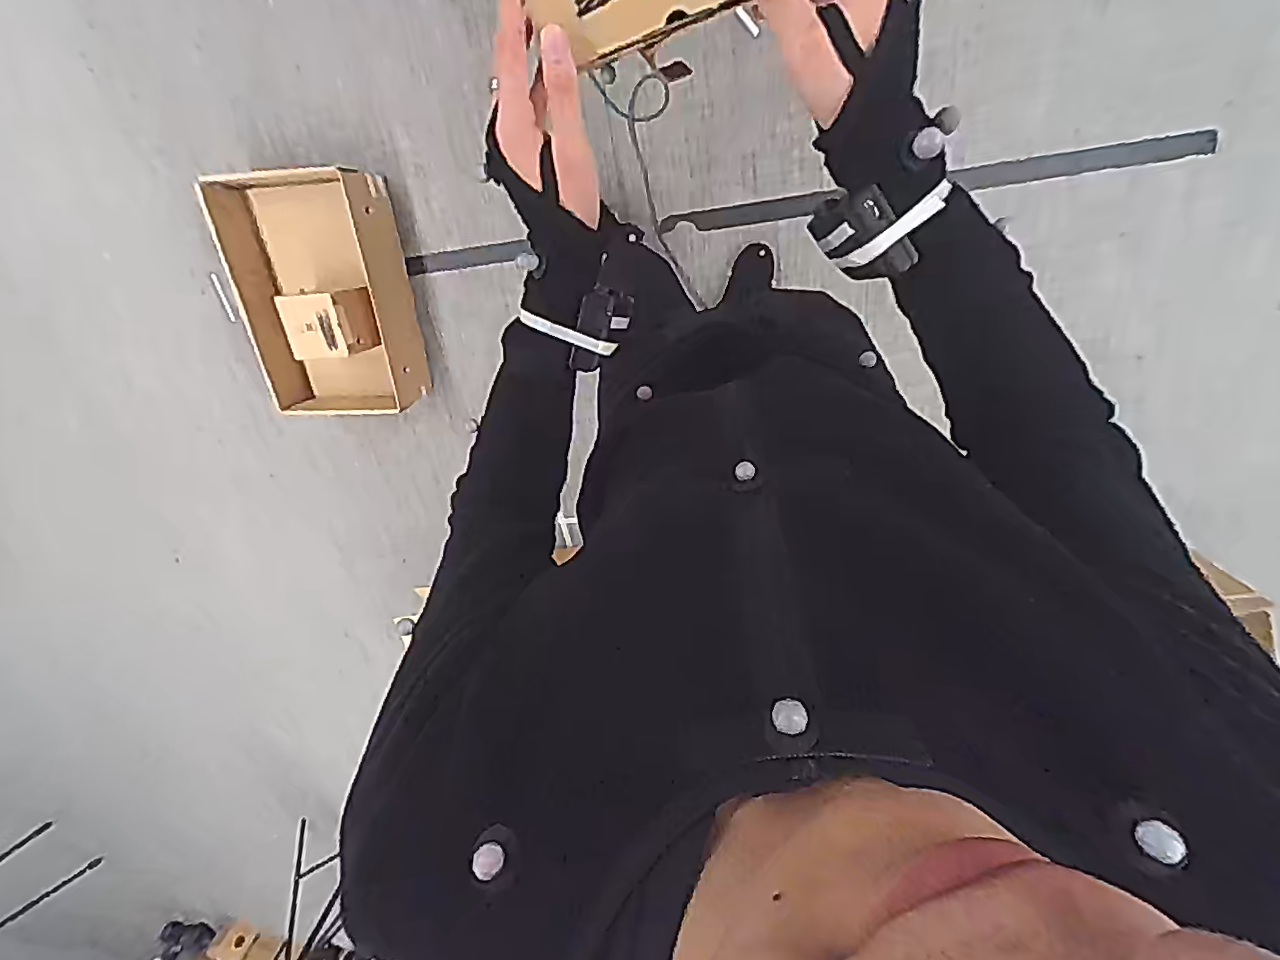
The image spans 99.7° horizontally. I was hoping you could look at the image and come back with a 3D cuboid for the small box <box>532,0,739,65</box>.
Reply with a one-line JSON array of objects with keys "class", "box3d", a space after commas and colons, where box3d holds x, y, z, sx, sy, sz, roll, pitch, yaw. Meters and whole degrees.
[{"class": "small box", "box3d": [-0.001, -0.387, 0.330, 0.168, 0.176, 0.179, -15, 126, 10]}]
